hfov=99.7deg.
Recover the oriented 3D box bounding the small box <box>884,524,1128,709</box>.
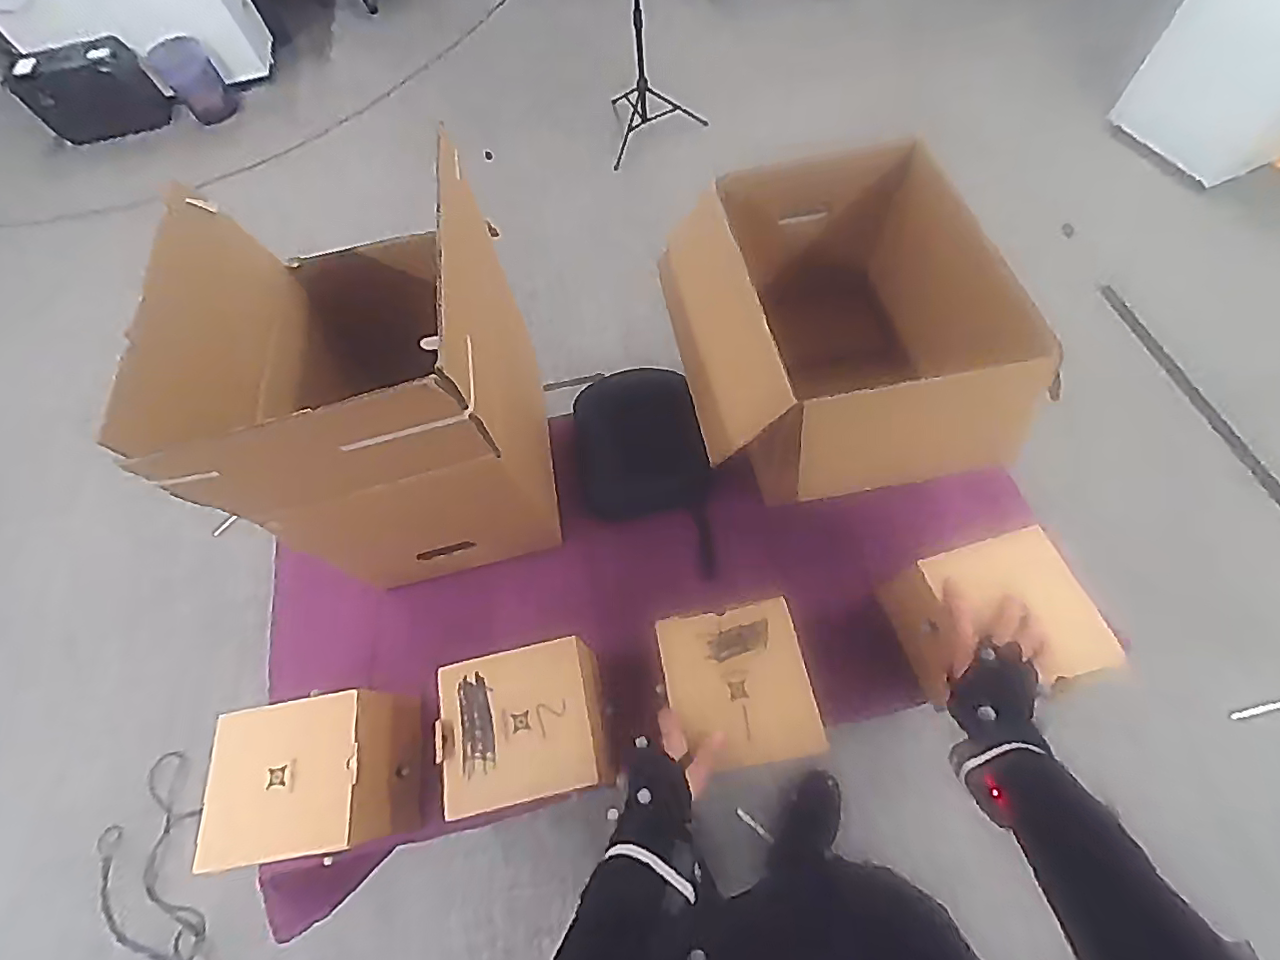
[{"bbox_3d":[0.451,0.185,0.707,0.168,0.176,0.179,-17,64,-2],"label":"small box"}]
